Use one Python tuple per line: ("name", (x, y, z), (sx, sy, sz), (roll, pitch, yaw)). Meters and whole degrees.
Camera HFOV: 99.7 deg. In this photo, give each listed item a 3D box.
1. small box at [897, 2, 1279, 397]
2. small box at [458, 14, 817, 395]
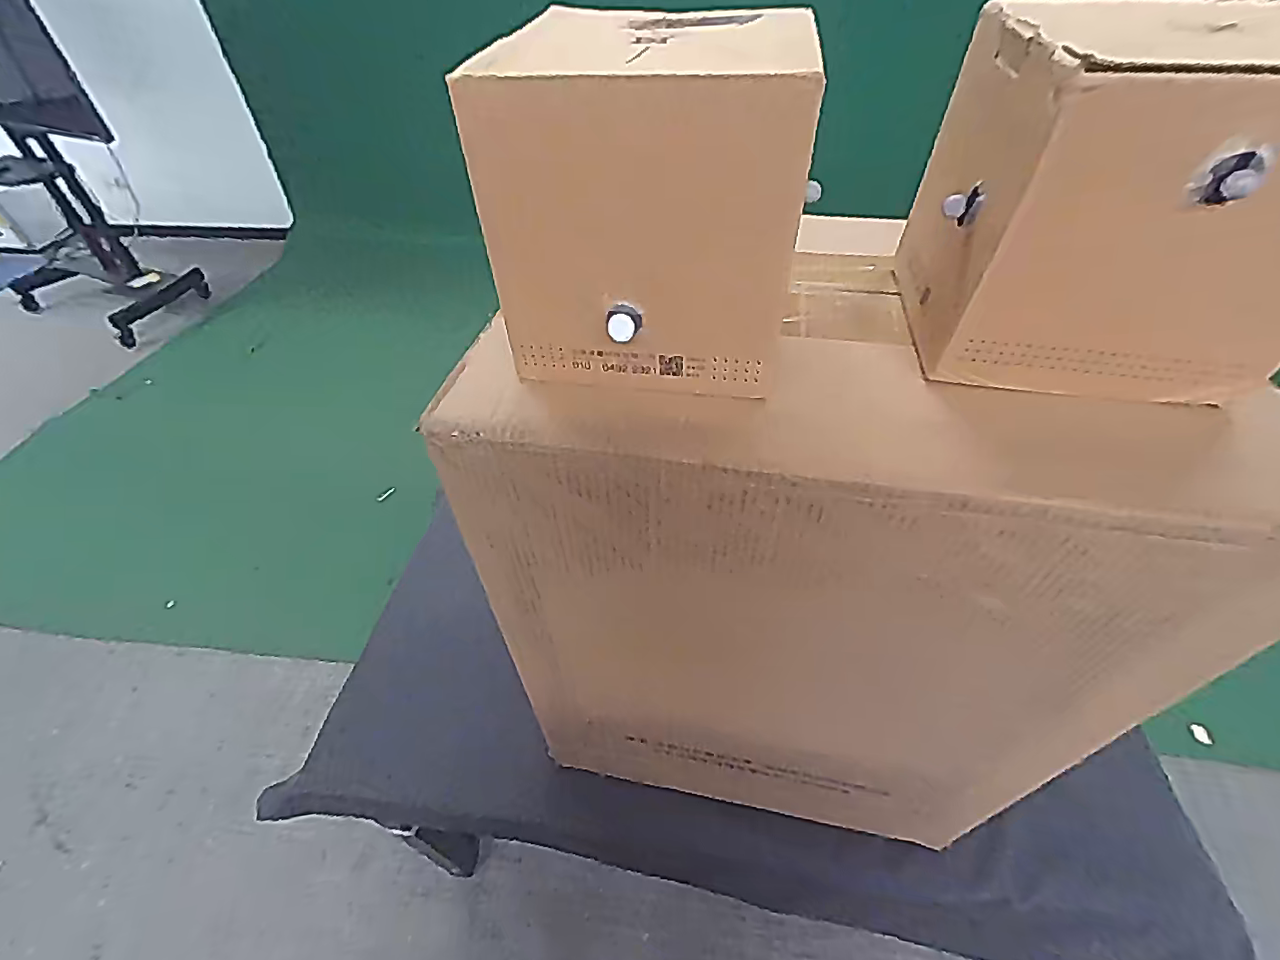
("small box", (0.277, -0.169, 0.333), (0.179, 0.176, 0.168), (8, 49, 6))
("small box", (0.012, -0.179, 0.350), (0.168, 0.176, 0.179), (6, 48, 9))
